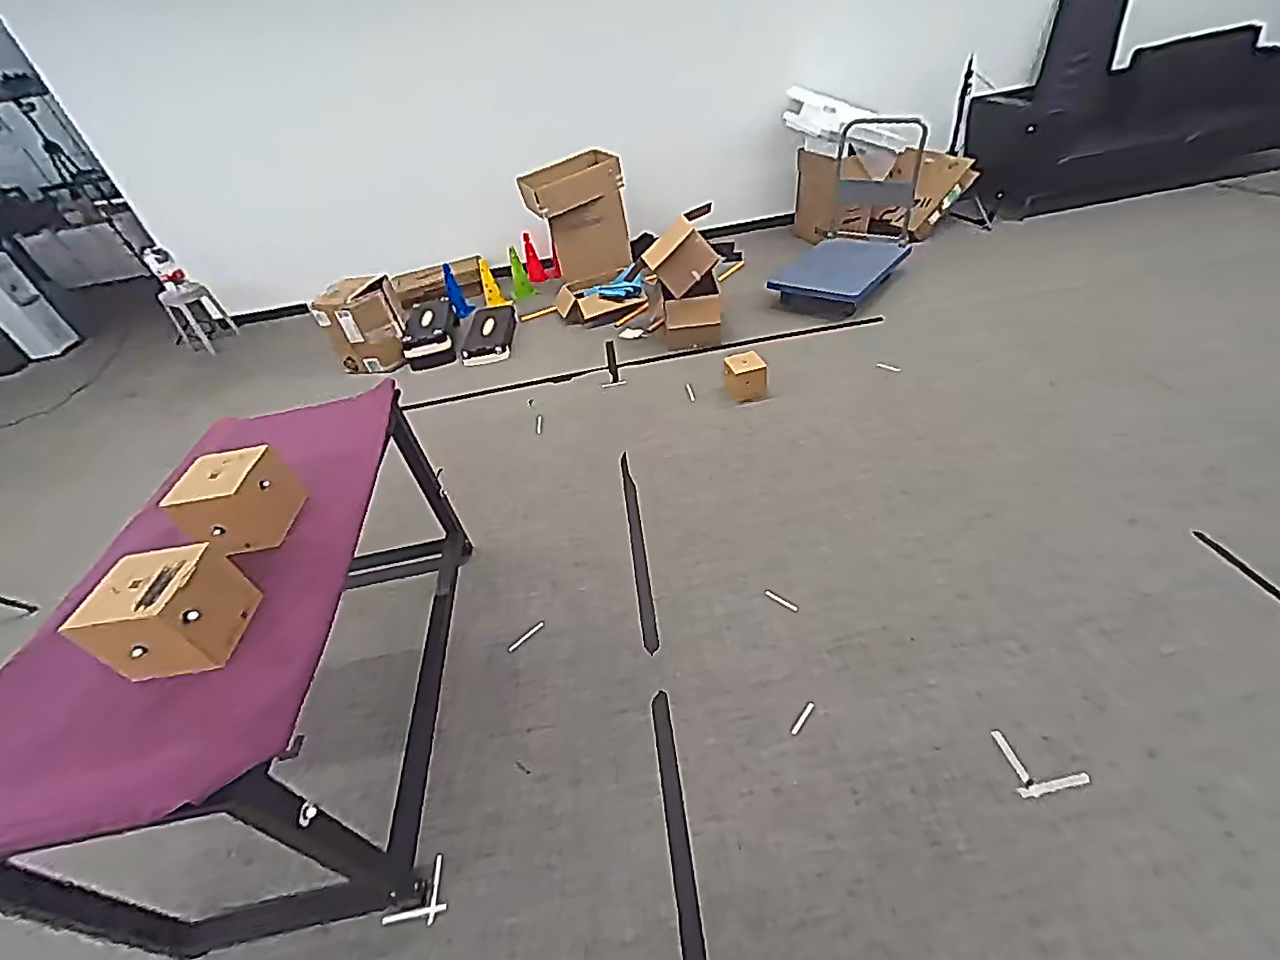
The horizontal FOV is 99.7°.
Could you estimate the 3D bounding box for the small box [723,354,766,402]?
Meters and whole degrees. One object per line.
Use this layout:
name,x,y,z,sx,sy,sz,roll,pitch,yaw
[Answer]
small box,0.528,-0.509,2.725,0.168,0.176,0.179,-15,40,-6

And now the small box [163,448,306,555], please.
small box,-0.906,0.055,1.232,0.168,0.176,0.179,-9,40,1
